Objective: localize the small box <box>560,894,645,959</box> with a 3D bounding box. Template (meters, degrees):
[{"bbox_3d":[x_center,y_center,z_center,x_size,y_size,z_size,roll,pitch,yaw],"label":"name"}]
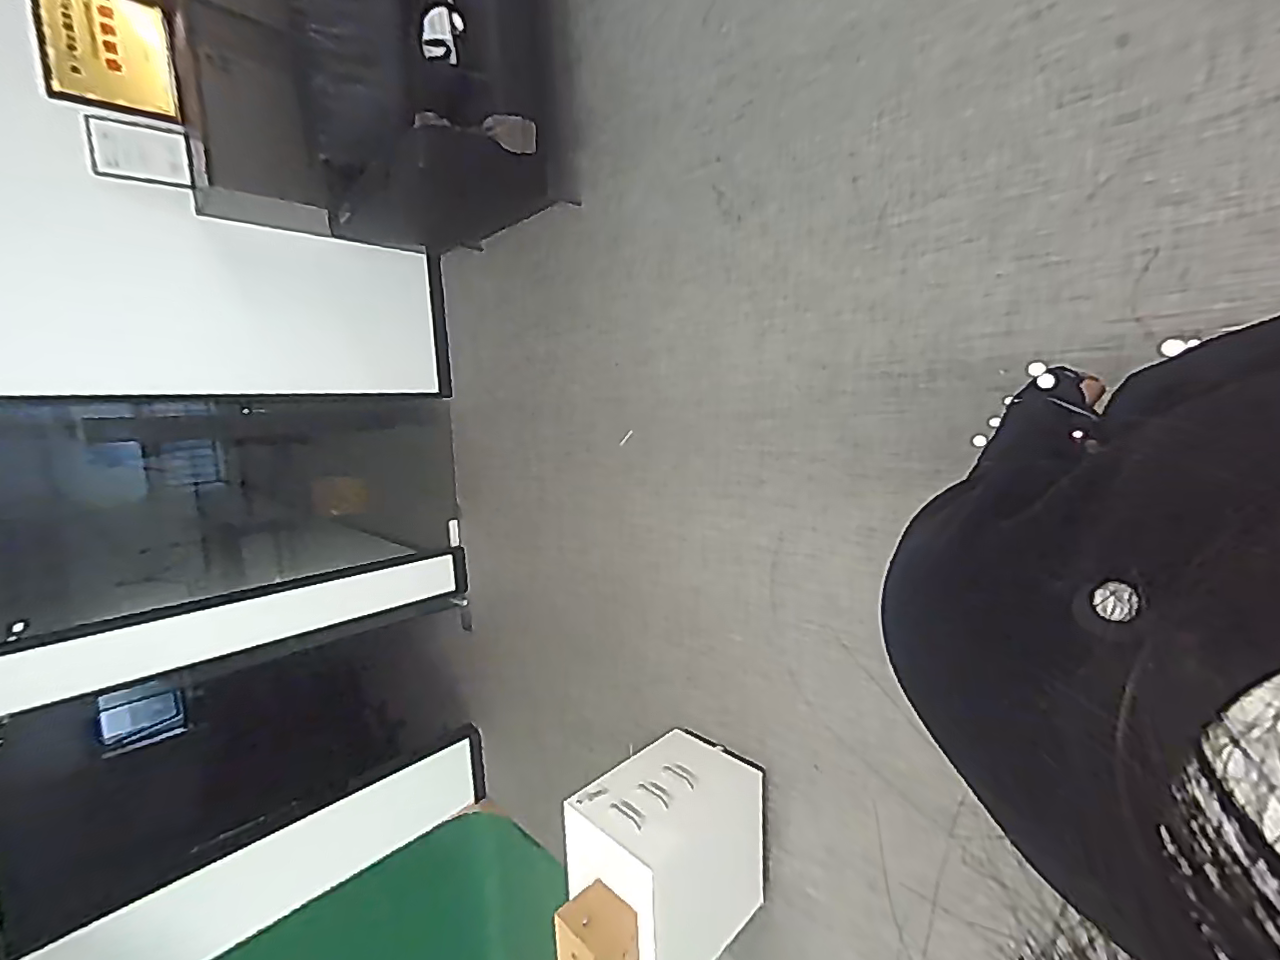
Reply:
[{"bbox_3d":[-0.104,1.326,1.527,0.179,0.176,0.168,2,98,45],"label":"small box"}]
